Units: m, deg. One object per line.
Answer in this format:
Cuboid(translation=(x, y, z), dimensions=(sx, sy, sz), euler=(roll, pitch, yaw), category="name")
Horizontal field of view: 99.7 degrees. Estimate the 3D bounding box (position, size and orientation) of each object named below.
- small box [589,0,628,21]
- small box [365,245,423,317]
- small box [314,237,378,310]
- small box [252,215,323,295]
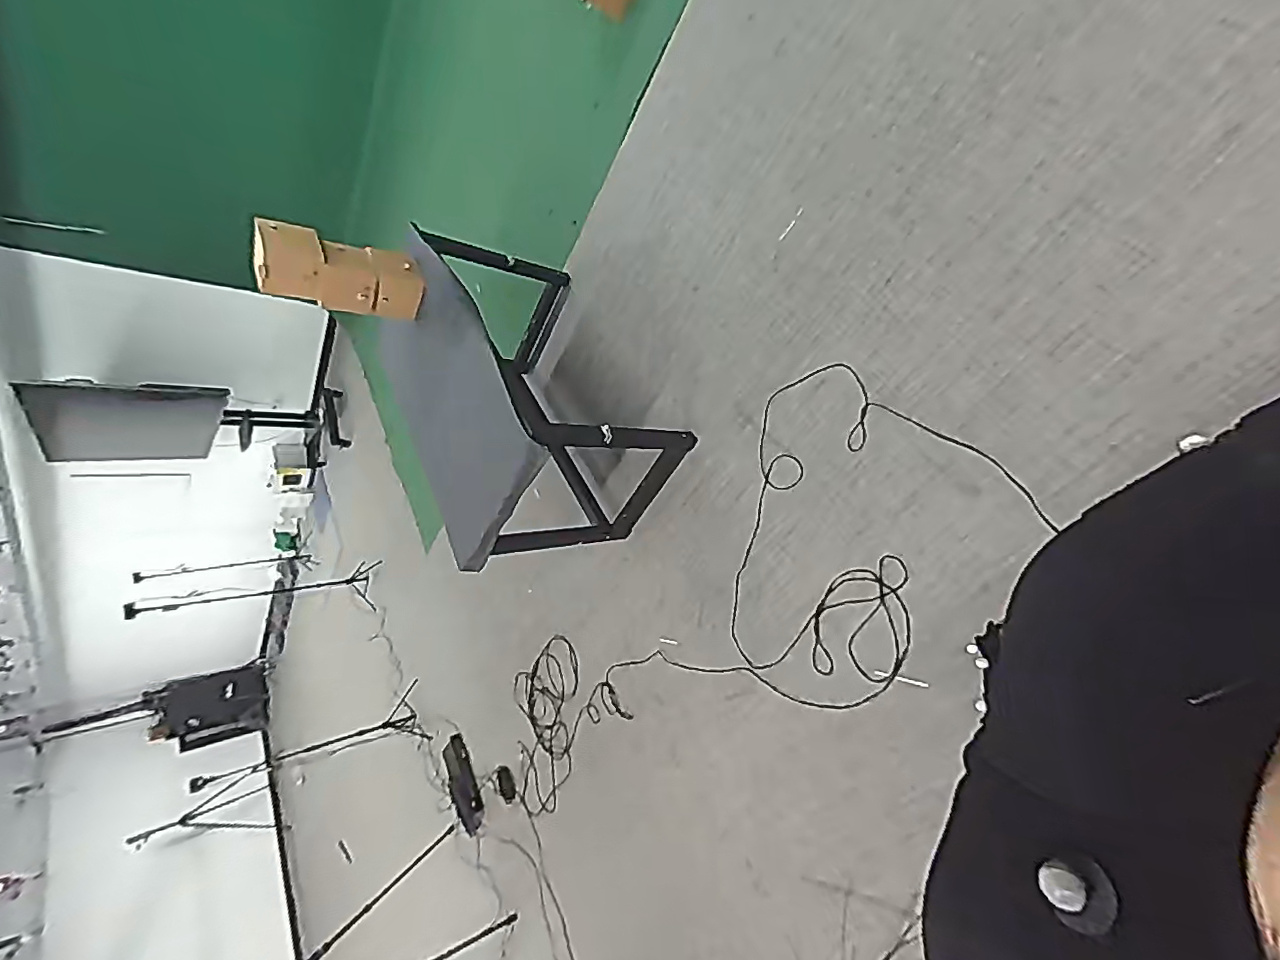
Cuboid(translation=(-0.138, -2.037, 2.202), dimensions=(0.179, 0.176, 0.168), euler=(-51, 57, 35), category="small box")
Cuboid(translation=(-0.924, -0.730, 2.002), dimensions=(0.179, 0.176, 0.168), euler=(-50, 58, 37), category="small box")
Cuboid(translation=(-1.038, -0.713, 1.888), dimensions=(0.179, 0.176, 0.168), euler=(53, 130, 29), category="small box")
Cuboid(translation=(-1.157, -0.729, 1.772), dimensions=(0.179, 0.176, 0.168), euler=(58, 133, 27), category="small box")
